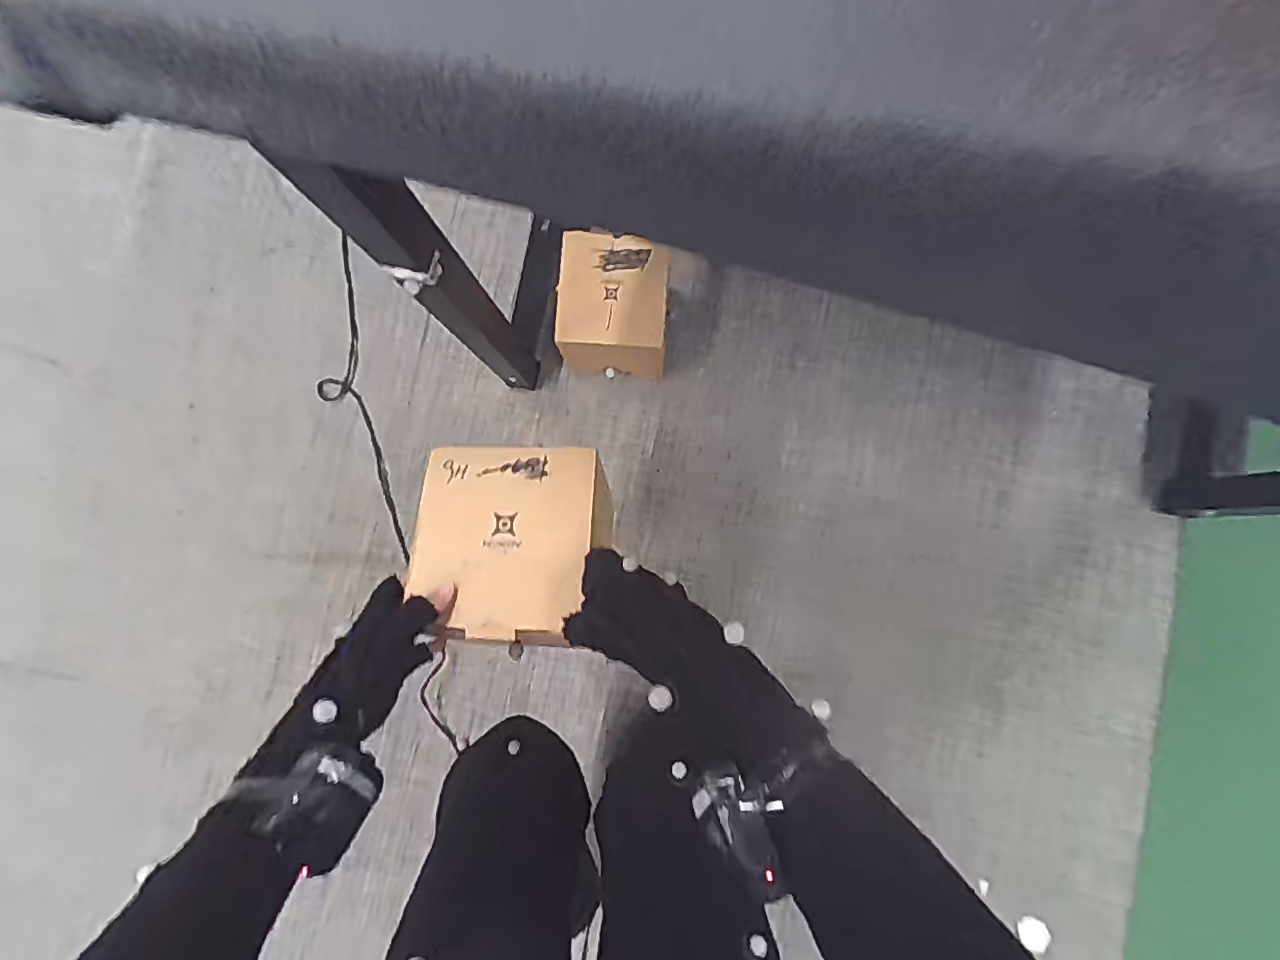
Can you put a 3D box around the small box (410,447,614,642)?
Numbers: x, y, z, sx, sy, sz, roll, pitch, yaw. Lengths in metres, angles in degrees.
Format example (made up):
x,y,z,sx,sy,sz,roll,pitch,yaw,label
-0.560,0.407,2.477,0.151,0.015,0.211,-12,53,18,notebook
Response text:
x,y,z,sx,sy,sz,roll,pitch,yaw,label
-0.119,0.077,0.583,0.168,0.176,0.179,1,68,3,small box

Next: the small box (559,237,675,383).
x,y,z,sx,sy,sz,roll,pitch,yaw,label
-0.033,-0.273,0.896,0.168,0.176,0.179,4,85,3,small box
